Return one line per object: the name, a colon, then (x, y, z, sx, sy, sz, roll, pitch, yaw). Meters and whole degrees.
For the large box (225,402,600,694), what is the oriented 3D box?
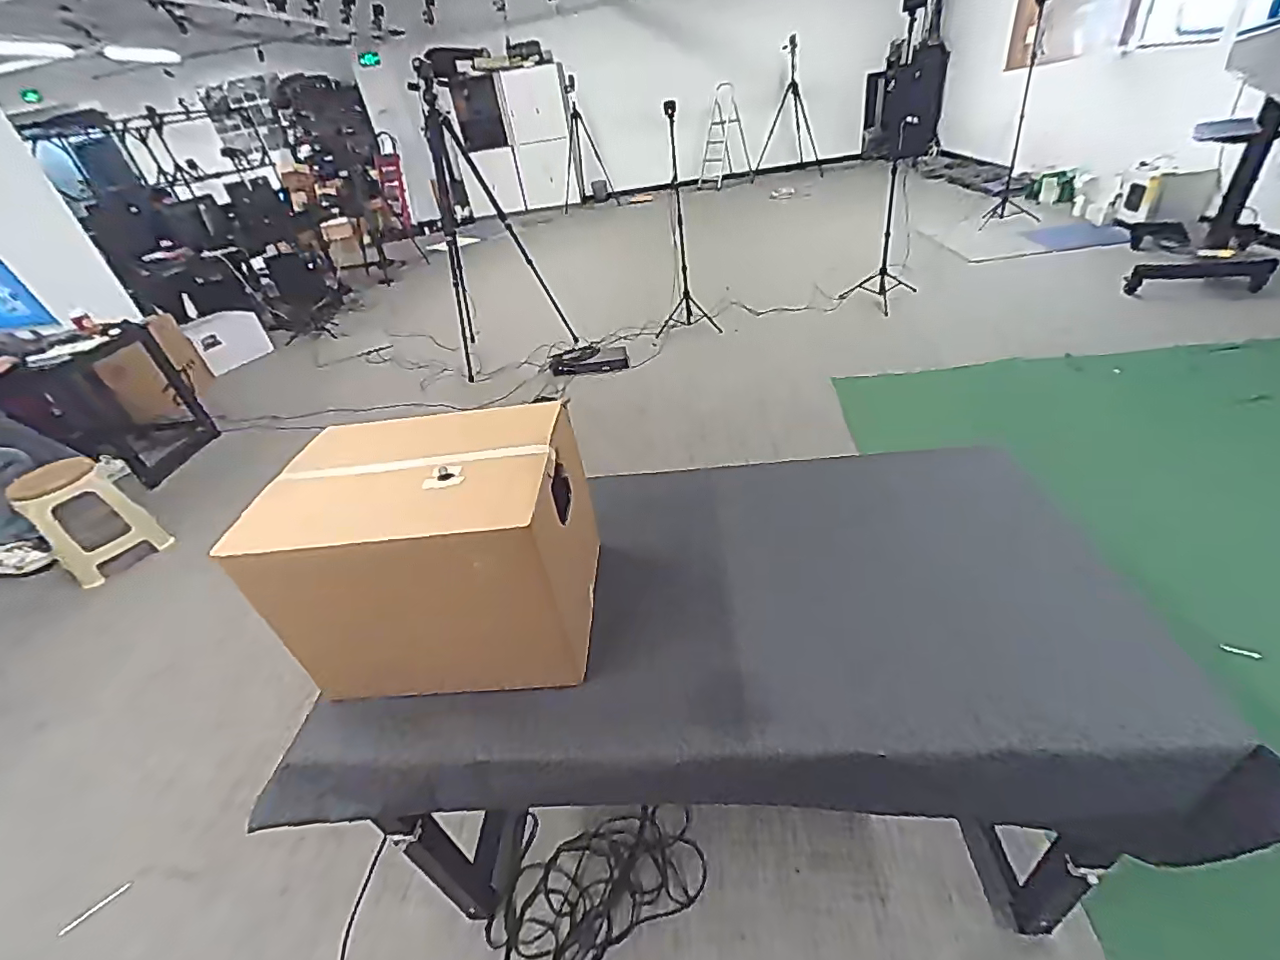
large box: (-0.290, 0.101, 0.844, 0.408, 0.320, 0.320, -5, 36, 4)
